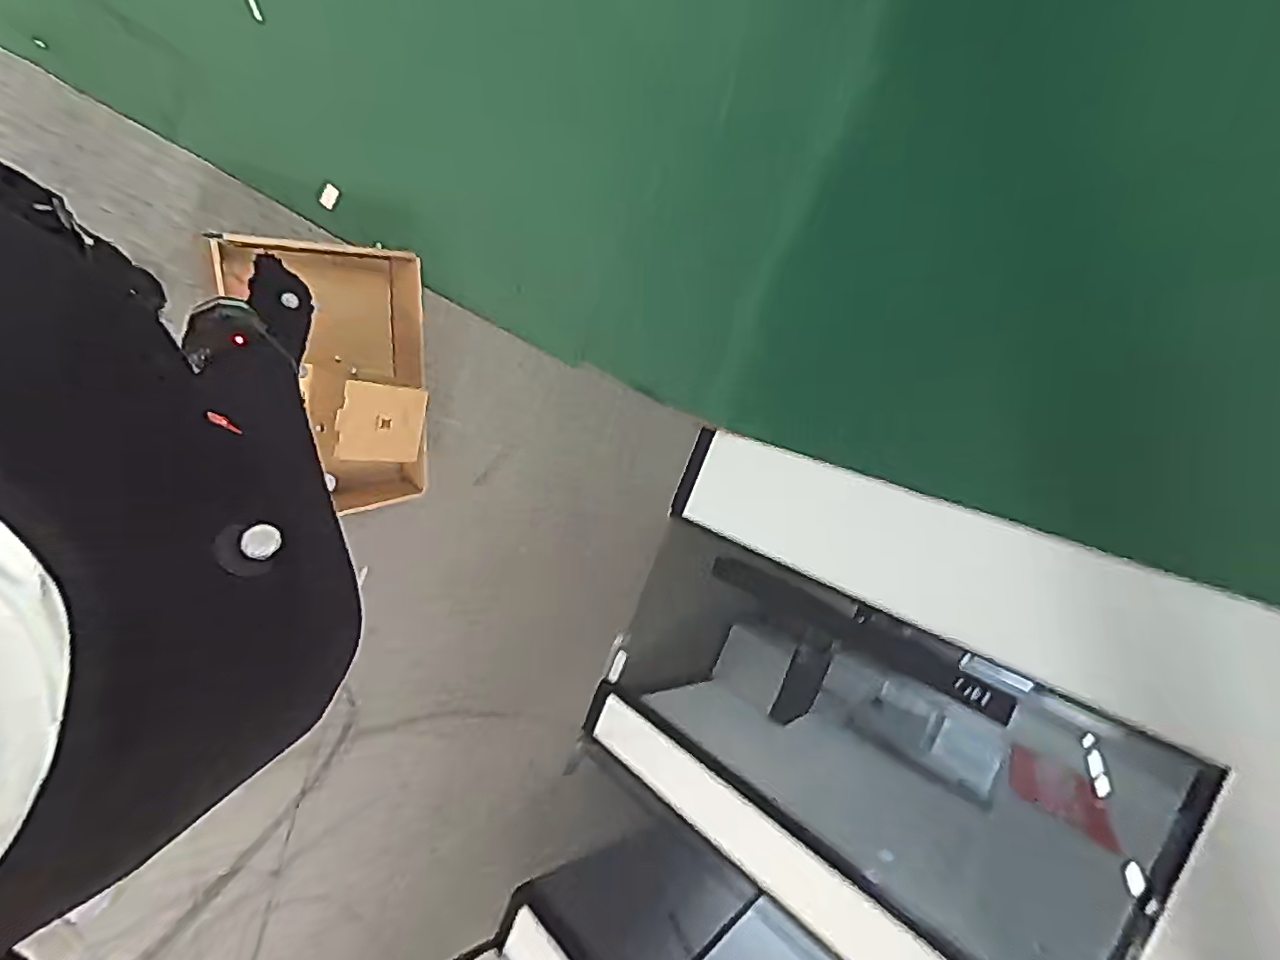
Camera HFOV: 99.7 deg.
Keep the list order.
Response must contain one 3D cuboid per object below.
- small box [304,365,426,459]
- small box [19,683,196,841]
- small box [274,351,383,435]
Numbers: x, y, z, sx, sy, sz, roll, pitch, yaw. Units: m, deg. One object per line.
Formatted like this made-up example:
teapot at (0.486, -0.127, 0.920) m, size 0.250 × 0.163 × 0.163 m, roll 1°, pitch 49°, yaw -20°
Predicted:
small box at (-0.602, -0.148, 1.178) m, size 0.179 × 0.176 × 0.168 m, roll -2°, pitch 110°, yaw -53°
small box at (-0.931, 0.474, 0.943) m, size 0.168 × 0.176 × 0.179 m, roll 31°, pitch 84°, yaw -52°
small box at (-0.730, -0.202, 1.262) m, size 0.179 × 0.176 × 0.168 m, roll -7°, pitch 113°, yaw -51°
